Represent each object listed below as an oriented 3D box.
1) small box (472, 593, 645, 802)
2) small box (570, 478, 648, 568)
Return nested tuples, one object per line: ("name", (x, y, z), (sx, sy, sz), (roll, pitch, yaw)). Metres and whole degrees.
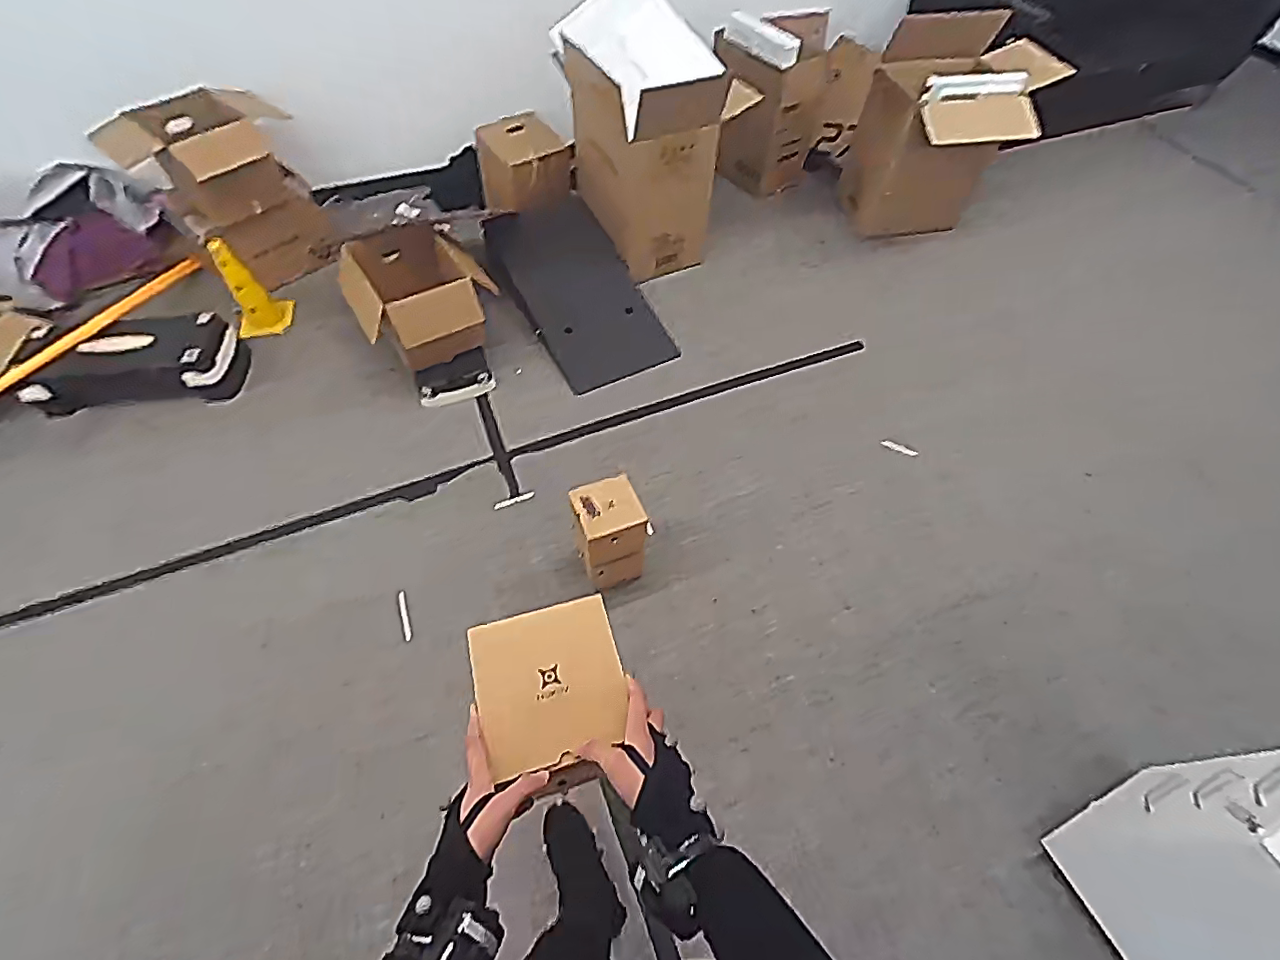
("small box", (-0.101, 0.269, 0.665), (0.168, 0.176, 0.179), (-12, 56, -12))
("small box", (-0.087, 0.126, 1.533), (0.179, 0.176, 0.168), (-18, 58, -15))
